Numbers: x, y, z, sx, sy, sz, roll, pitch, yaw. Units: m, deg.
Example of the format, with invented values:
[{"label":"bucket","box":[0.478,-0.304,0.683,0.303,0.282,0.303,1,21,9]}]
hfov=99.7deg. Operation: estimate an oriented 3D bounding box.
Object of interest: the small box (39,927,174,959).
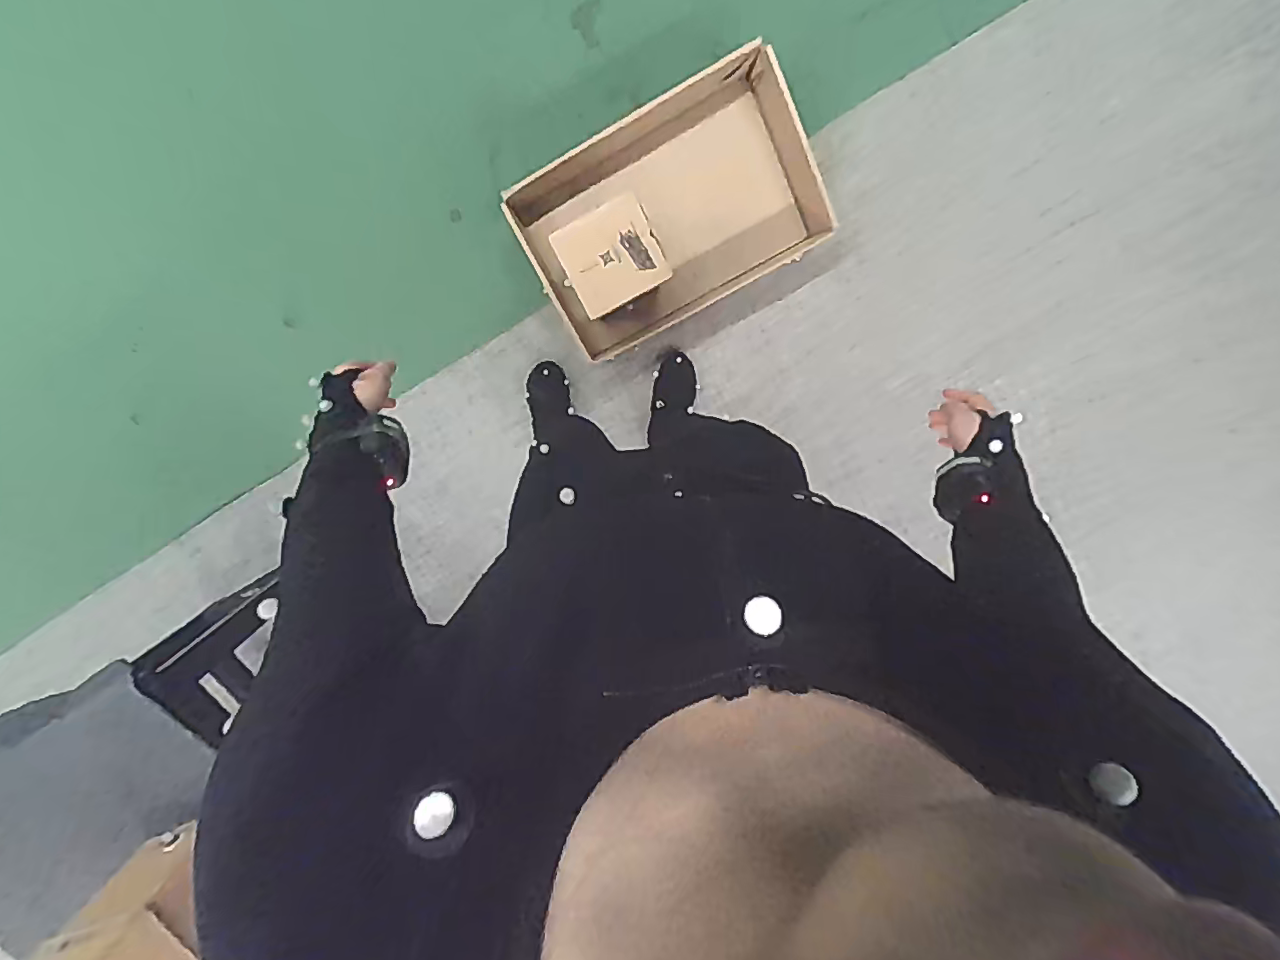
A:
[{"label":"small box","box":[-0.665,0.682,0.631,0.168,0.176,0.179,-23,106,5]}]

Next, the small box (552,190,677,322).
[{"label":"small box","box":[-0.048,-0.420,1.039,0.179,0.176,0.168,-27,106,6]}]

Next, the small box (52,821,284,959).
[{"label":"small box","box":[-0.679,0.653,0.793,0.168,0.176,0.179,-26,105,5]}]
